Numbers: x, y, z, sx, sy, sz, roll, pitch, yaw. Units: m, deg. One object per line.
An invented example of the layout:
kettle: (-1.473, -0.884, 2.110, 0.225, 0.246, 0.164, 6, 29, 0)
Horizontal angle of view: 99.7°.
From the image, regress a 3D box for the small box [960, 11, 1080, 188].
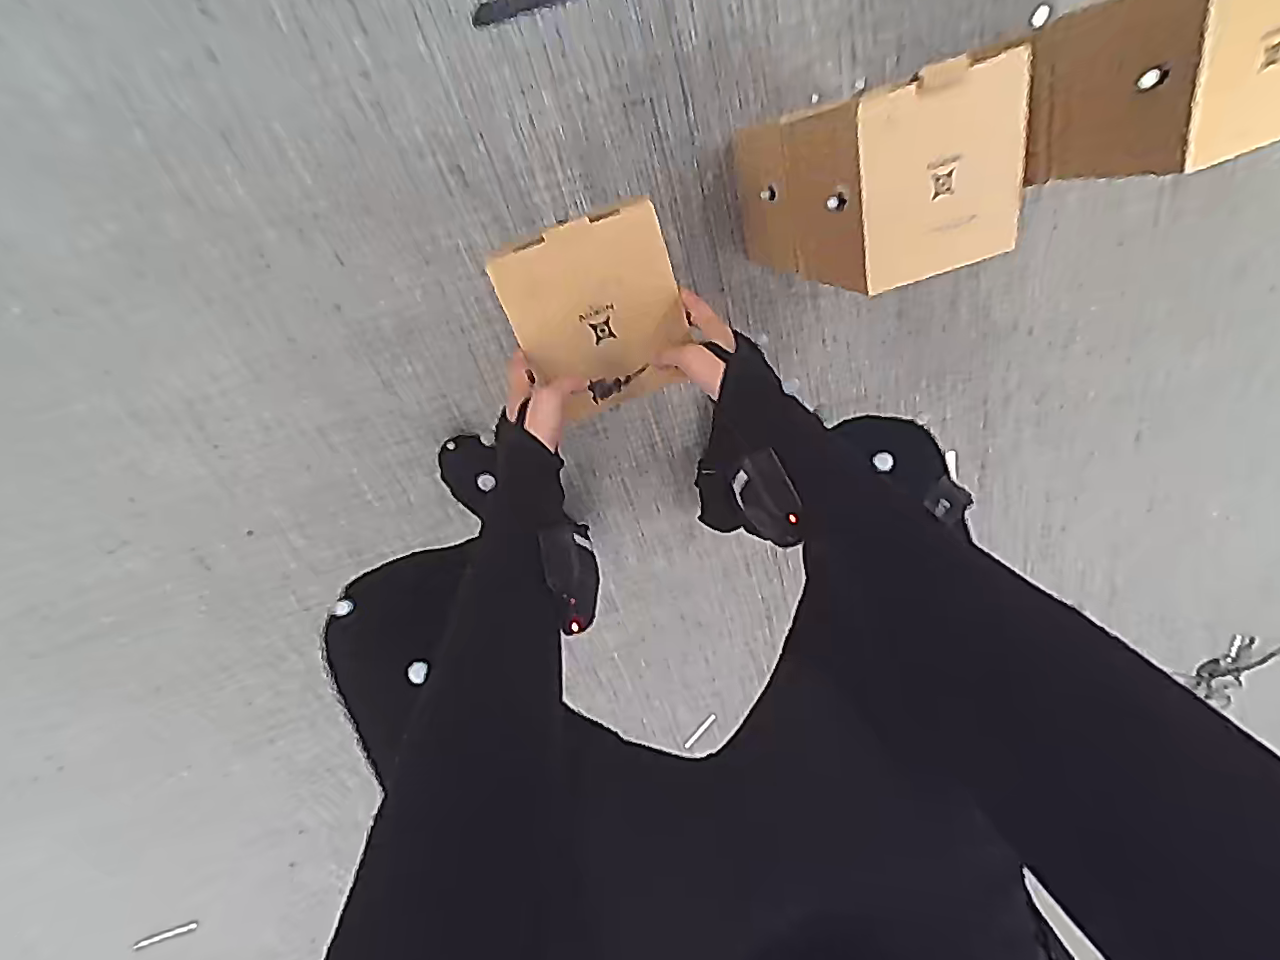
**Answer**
small box: (0.559, -0.513, 0.728, 0.168, 0.176, 0.179, -21, 117, -1)

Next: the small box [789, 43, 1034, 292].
small box: (0.273, -0.318, 0.577, 0.168, 0.176, 0.179, -18, 118, -2)

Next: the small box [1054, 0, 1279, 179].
small box: (0.592, -0.444, 0.585, 0.168, 0.176, 0.179, -21, 117, -1)

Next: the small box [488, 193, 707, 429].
small box: (-0.046, -0.183, 0.576, 0.168, 0.176, 0.179, -20, 118, 1)

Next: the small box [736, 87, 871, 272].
small box: (0.240, -0.394, 0.719, 0.168, 0.176, 0.179, -18, 119, -2)
